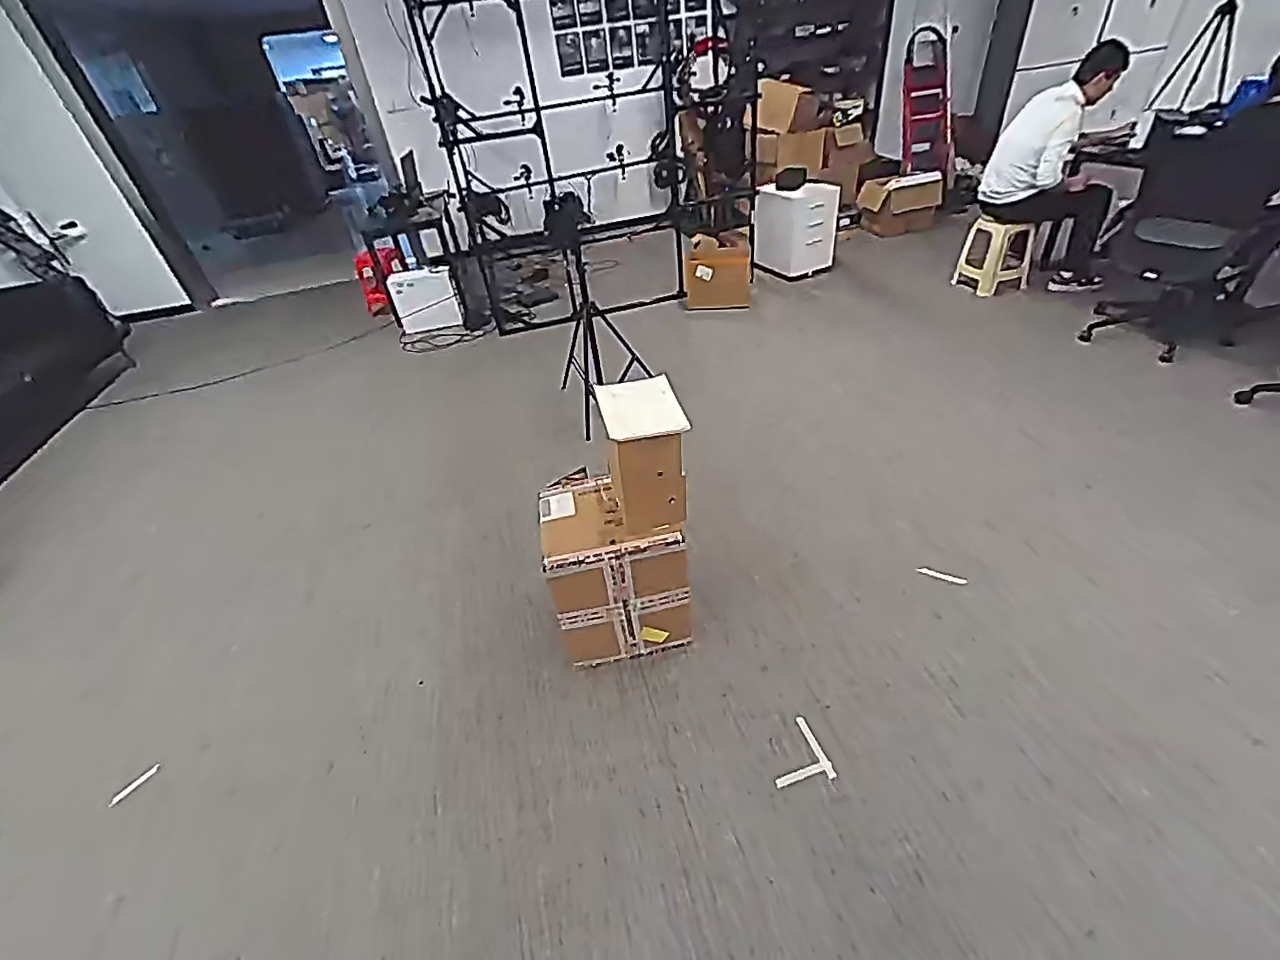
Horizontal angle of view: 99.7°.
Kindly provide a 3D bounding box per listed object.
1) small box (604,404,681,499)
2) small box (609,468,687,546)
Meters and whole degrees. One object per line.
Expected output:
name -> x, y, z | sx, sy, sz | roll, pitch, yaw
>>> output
small box -> 0.006, -0.075, 1.417 | 0.168, 0.176, 0.179 | -12, 39, -9
small box -> 0.023, 0.057, 1.512 | 0.179, 0.176, 0.168 | -15, 39, -10
